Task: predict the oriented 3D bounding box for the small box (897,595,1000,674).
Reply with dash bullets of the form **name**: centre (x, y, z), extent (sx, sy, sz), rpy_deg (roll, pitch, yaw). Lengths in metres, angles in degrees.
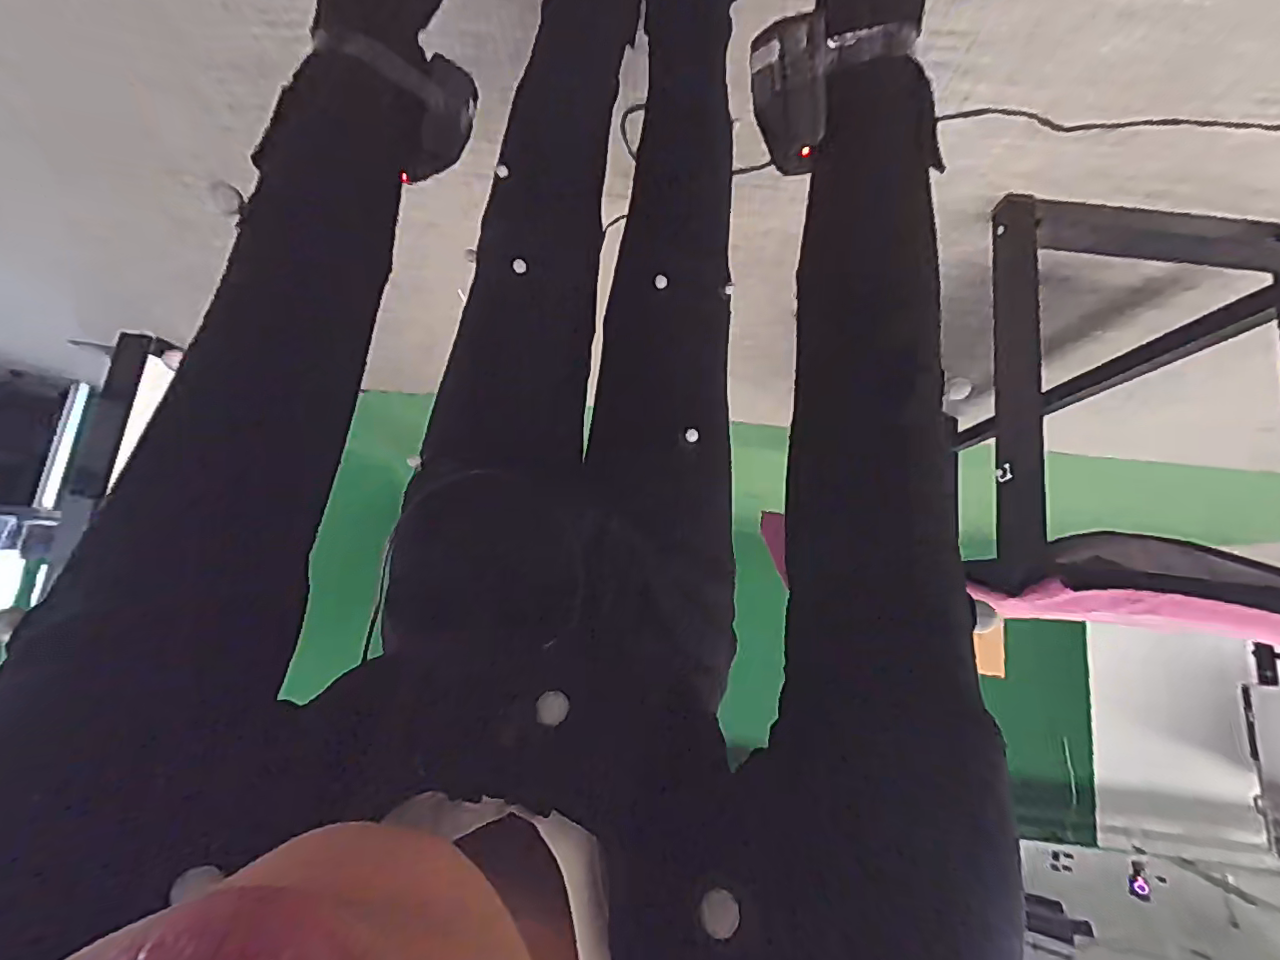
- **small box**: centre (0.793, 0.395, 1.398), extent (0.179, 0.176, 0.168), rpy_deg (7, 168, -3)
